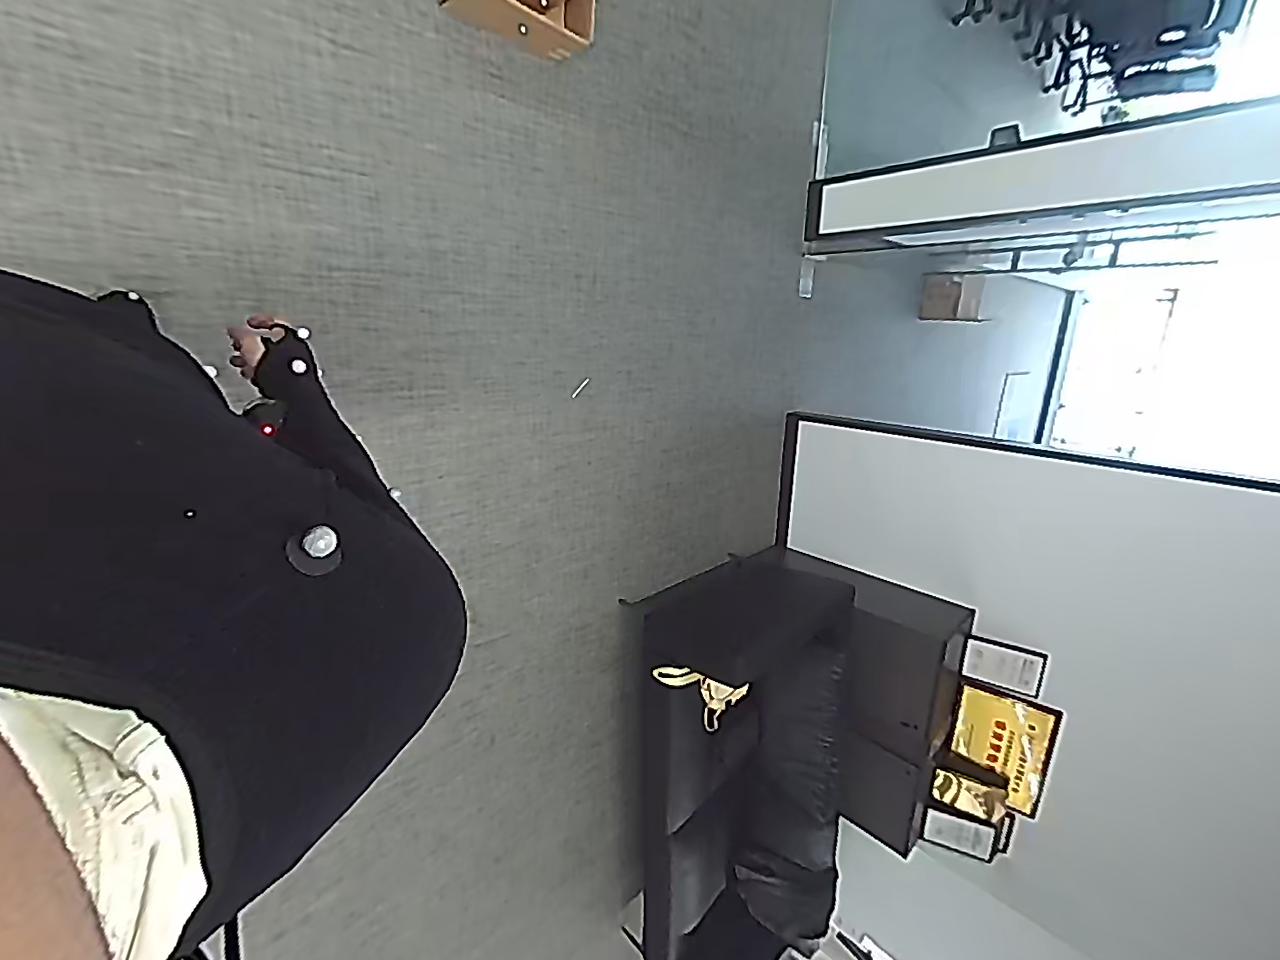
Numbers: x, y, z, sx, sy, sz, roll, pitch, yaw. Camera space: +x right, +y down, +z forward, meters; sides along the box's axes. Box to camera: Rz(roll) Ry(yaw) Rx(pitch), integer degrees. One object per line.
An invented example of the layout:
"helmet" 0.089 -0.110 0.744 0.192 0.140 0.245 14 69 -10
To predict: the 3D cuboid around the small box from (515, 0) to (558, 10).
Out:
"small box" -0.295 -1.417 1.453 0.179 0.176 0.168 -8 107 -43
